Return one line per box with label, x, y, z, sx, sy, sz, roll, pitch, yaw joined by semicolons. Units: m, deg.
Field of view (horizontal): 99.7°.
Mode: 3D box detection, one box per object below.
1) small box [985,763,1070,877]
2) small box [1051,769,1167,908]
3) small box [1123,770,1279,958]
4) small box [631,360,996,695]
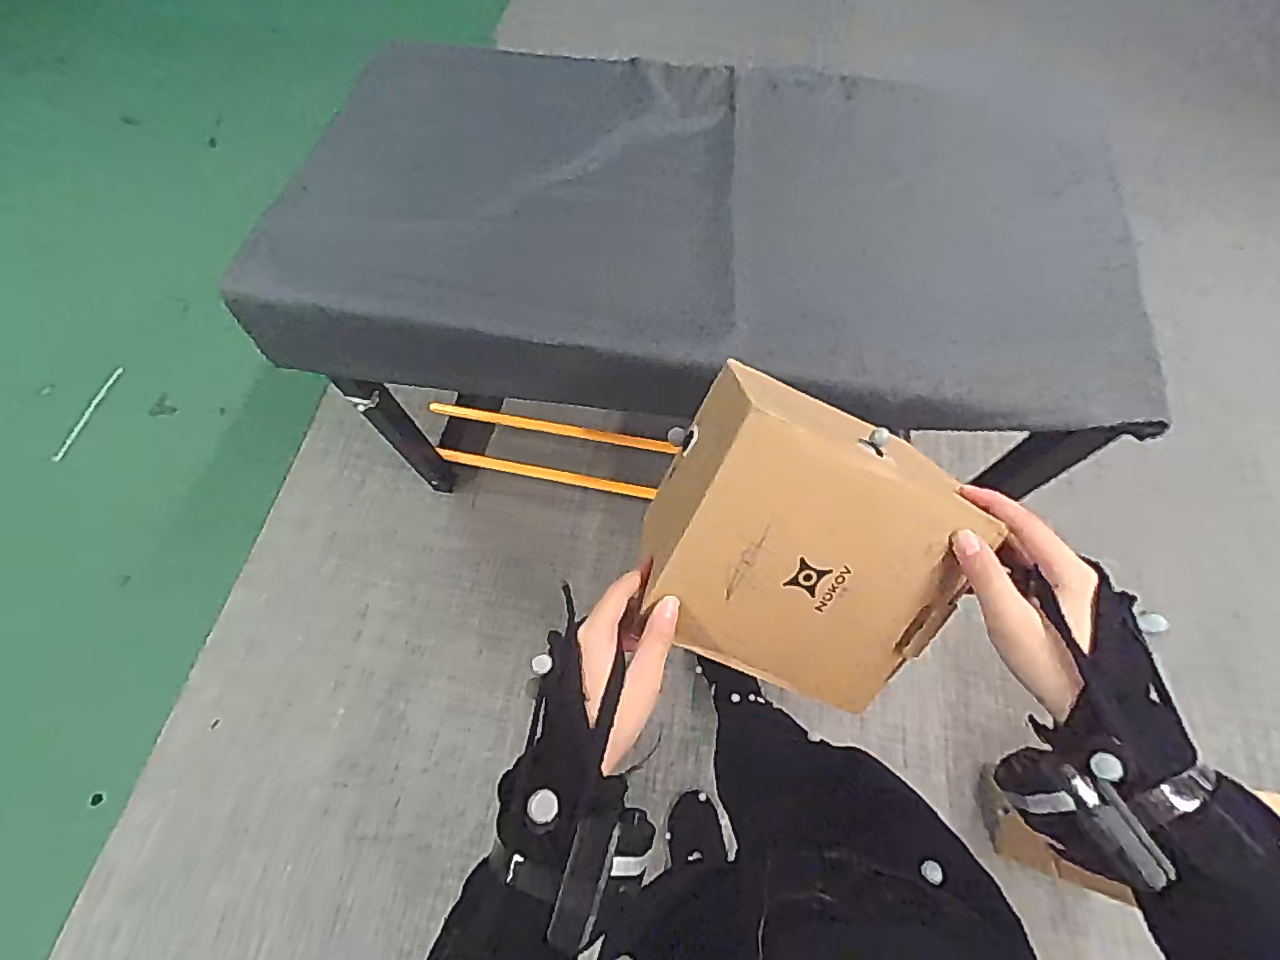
small box;0.787;0.629;1.007;0.179;0.176;0.168;4;65;4
small box;0.795;0.563;0.856;0.179;0.176;0.168;5;66;3
small box;0.795;0.494;0.708;0.168;0.176;0.179;5;66;4
small box;0.107;0.022;0.415;0.179;0.176;0.168;23;110;-6
